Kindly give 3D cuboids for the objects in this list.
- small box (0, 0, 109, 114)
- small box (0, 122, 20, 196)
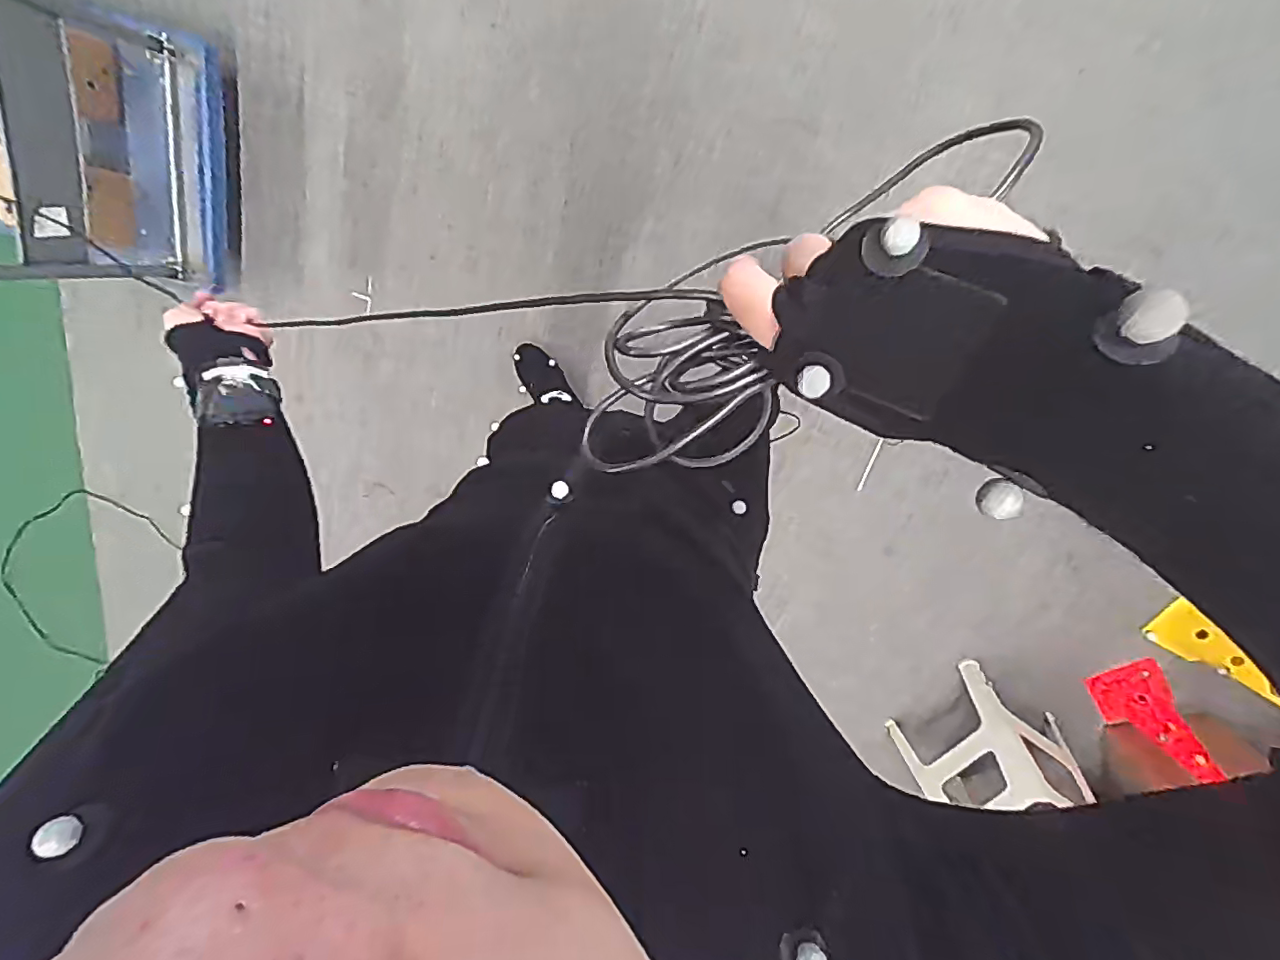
[{"bbox_3d":[-1.330,-0.932,1.182,0.179,0.176,0.168,18,112,-1],"label":"small box"},{"bbox_3d":[-1.640,-0.785,1.278,0.179,0.176,0.168,14,112,2],"label":"small box"}]
